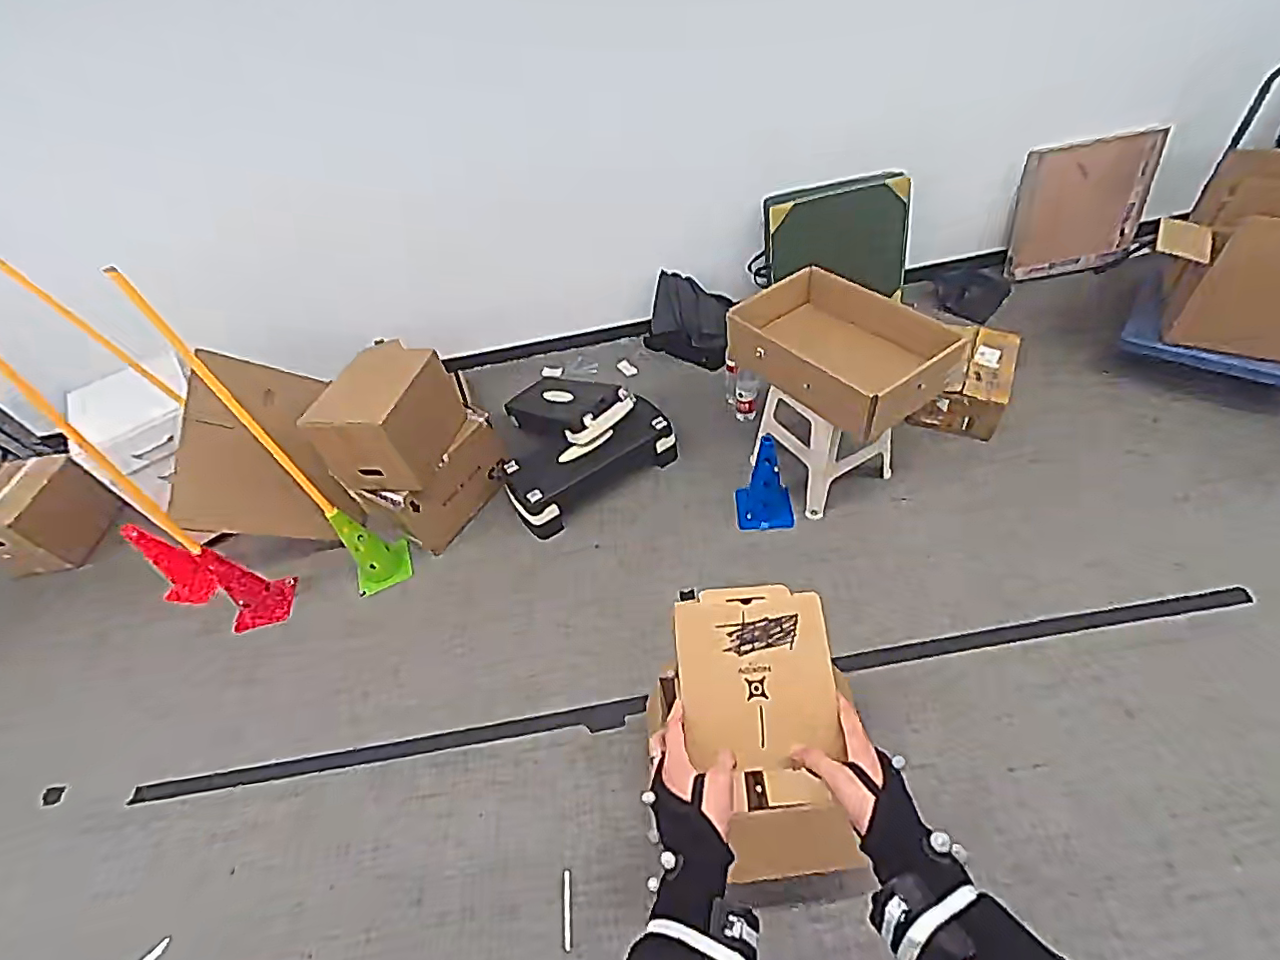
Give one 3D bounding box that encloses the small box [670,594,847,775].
[{"bbox_3d":[0.126,0.243,0.653,0.168,0.176,0.179,-4,70,0],"label":"small box"}]
